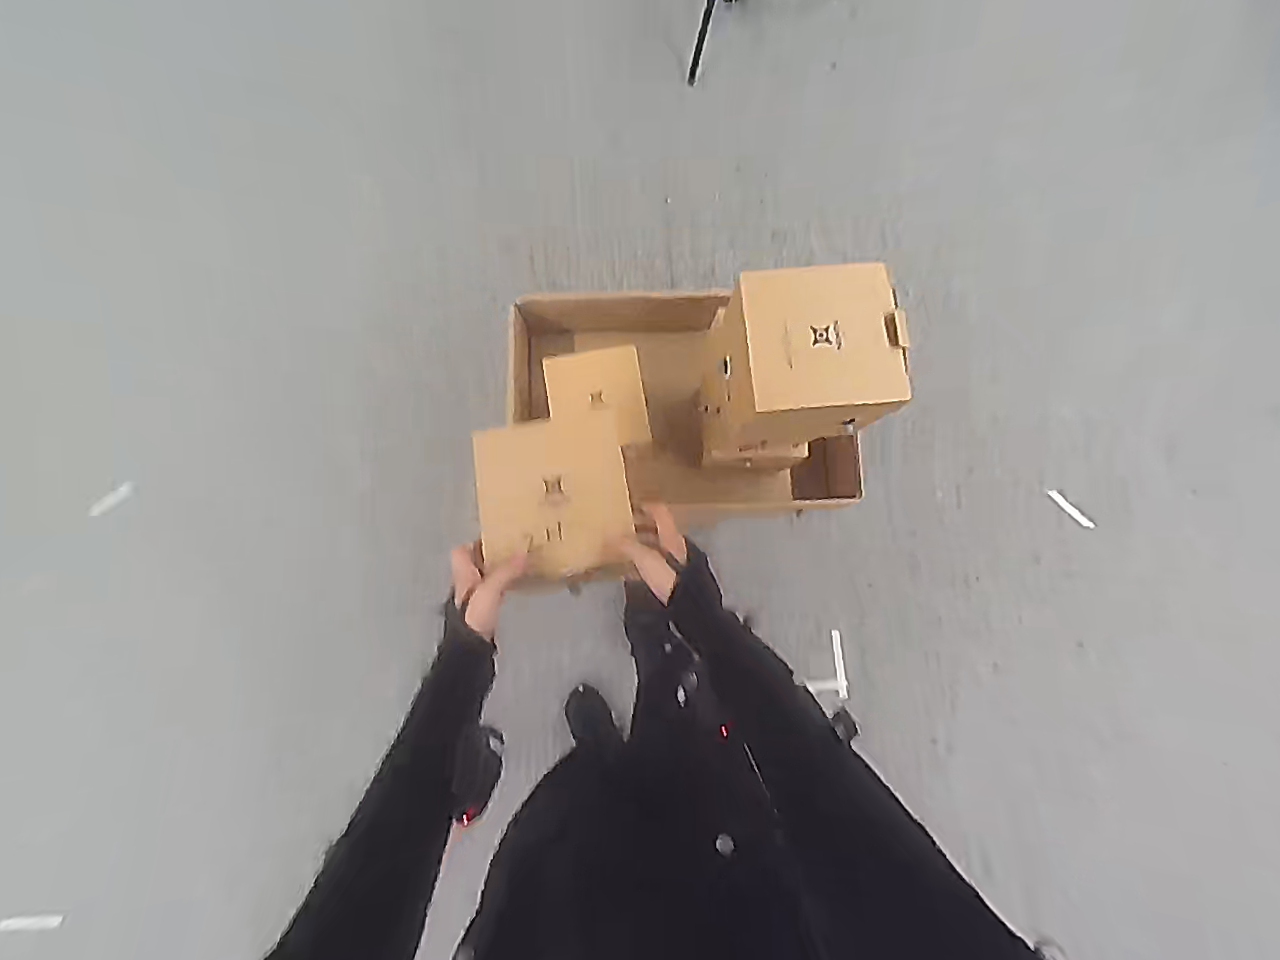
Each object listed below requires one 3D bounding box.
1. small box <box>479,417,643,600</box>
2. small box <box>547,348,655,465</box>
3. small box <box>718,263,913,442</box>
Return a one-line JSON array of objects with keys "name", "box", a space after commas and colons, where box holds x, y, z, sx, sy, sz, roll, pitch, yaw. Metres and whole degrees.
[{"name": "small box", "box": [-0.091, 0.043, 0.668, 0.168, 0.176, 0.179, -9, 74, -2]}, {"name": "small box", "box": [-0.070, -0.122, 1.002, 0.168, 0.176, 0.179, -10, 82, -2]}, {"name": "small box", "box": [0.205, -0.149, 0.678, 0.179, 0.176, 0.168, -5, 81, -2]}]
